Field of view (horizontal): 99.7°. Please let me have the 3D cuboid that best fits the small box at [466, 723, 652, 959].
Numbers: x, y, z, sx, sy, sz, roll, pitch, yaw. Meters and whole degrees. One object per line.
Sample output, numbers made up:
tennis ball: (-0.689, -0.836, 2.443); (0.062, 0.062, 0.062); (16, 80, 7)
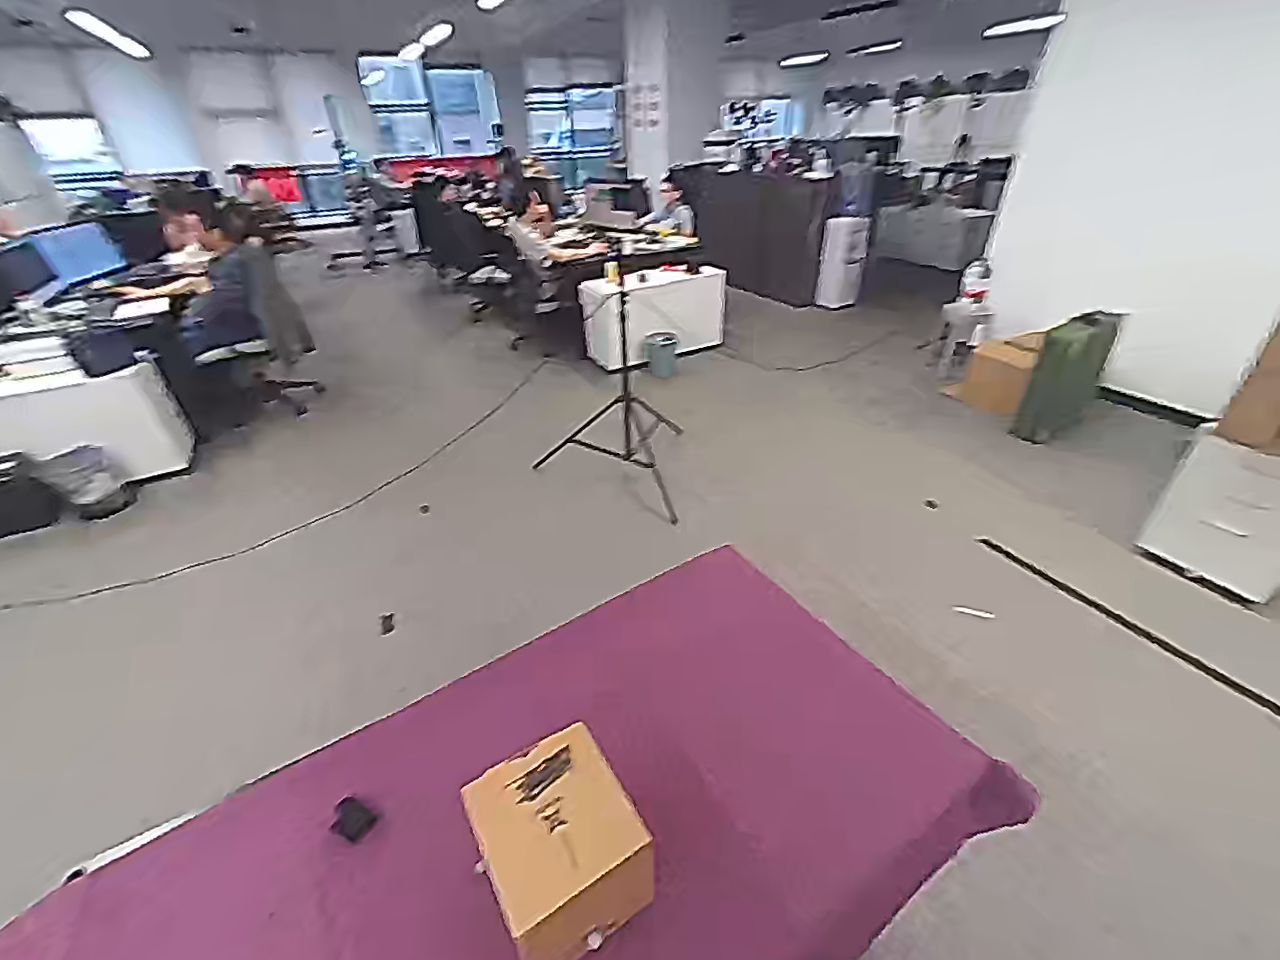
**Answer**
small box: (-0.100, 0.455, 0.674); (0.168, 0.176, 0.179); (-21, 38, -26)
